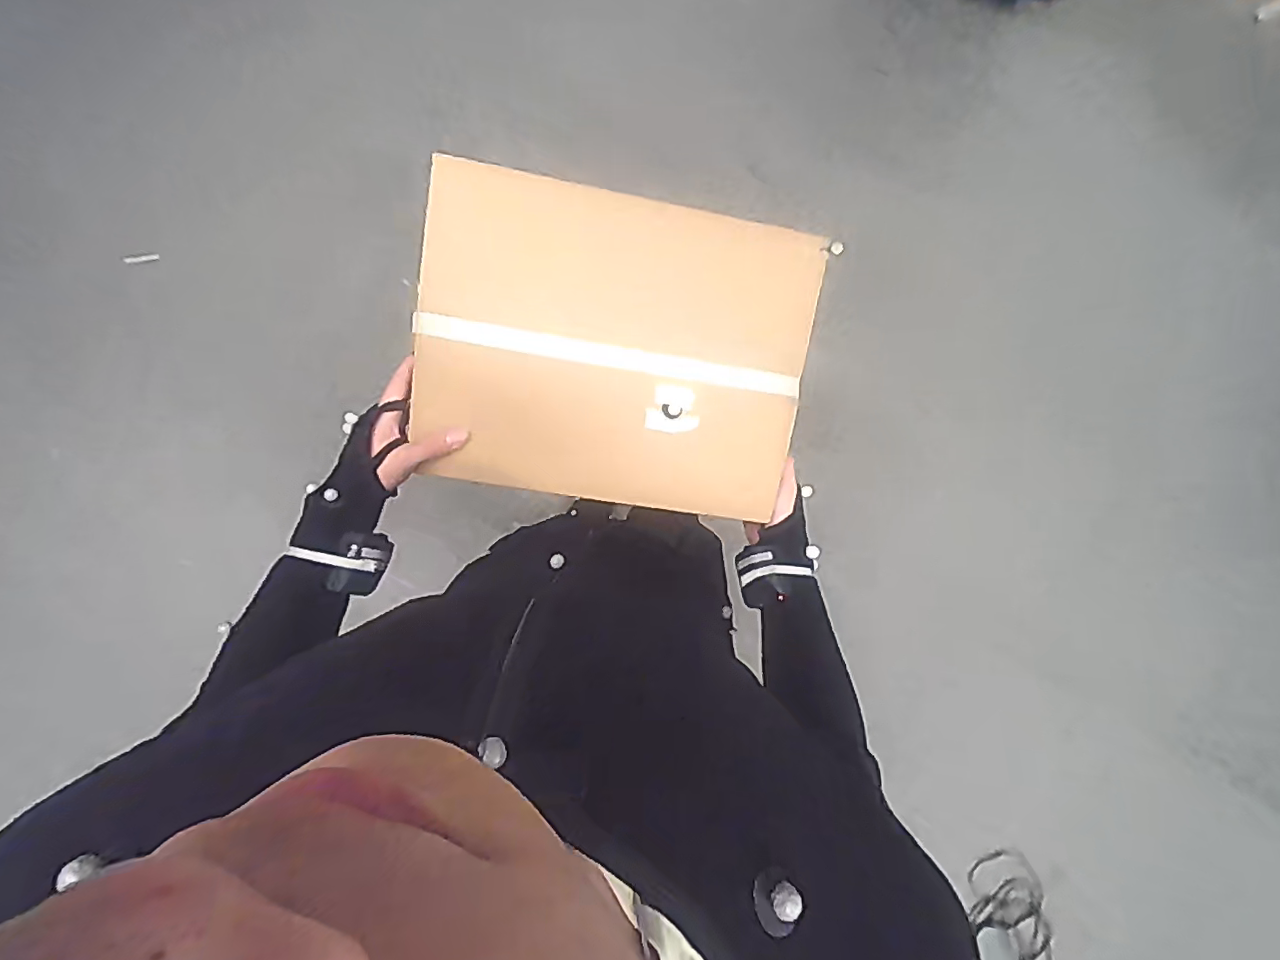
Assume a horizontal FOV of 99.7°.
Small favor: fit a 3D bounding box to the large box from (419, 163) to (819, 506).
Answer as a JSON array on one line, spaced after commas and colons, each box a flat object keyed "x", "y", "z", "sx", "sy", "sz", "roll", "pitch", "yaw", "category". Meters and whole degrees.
[{"x": -0.042, "y": -0.167, "z": 0.719, "sx": 0.408, "sy": 0.320, "sz": 0.320, "roll": 7, "pitch": 101, "yaw": -8, "category": "large box"}]
